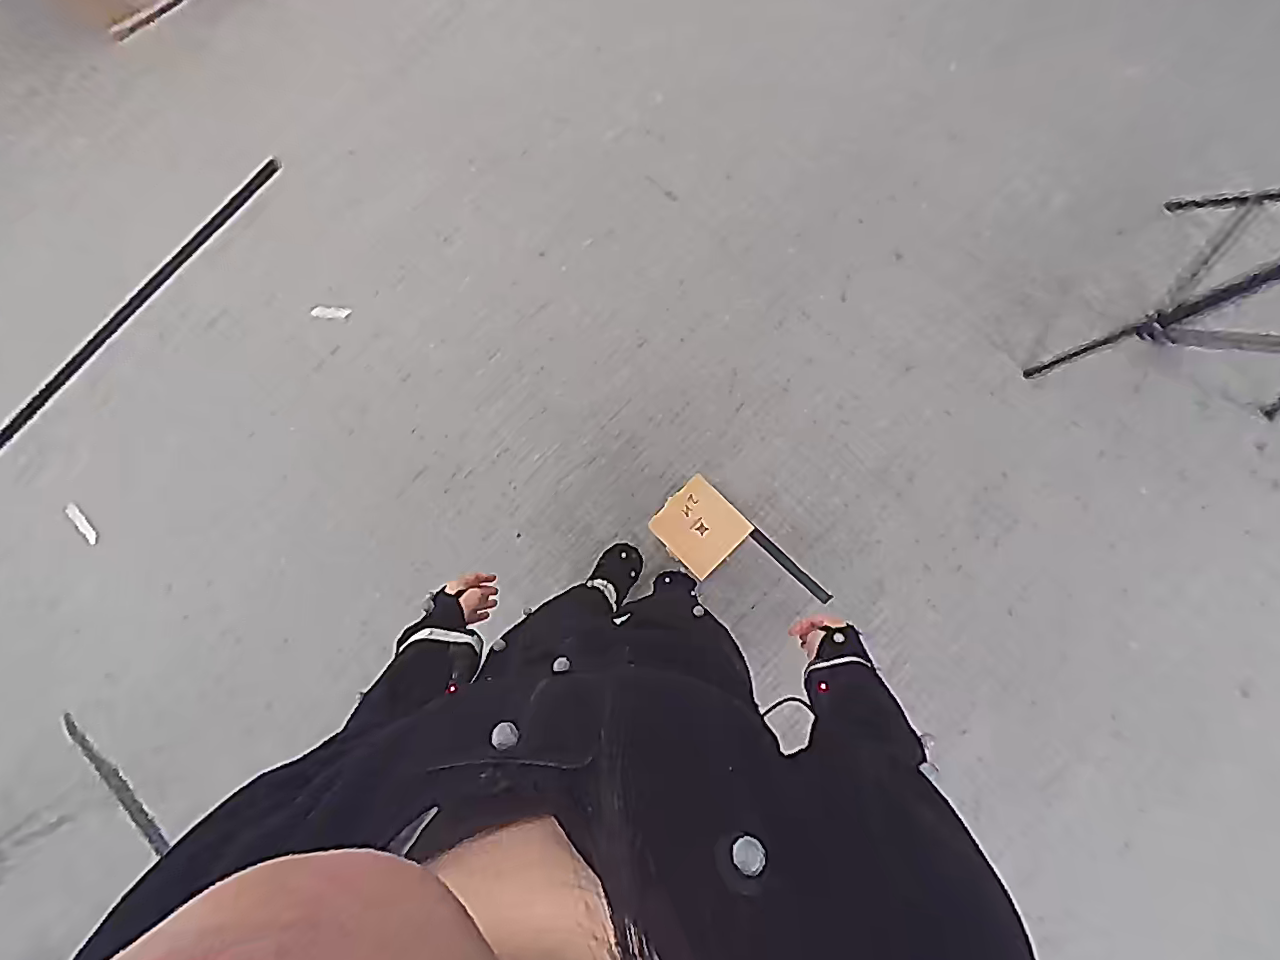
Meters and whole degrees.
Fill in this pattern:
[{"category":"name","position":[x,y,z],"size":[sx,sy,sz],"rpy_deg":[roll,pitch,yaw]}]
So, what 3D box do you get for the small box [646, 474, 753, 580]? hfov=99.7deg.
[{"category":"small box","position":[0.137,0.108,1.254],"size":[0.168,0.176,0.179],"rpy_deg":[-44,82,-1]}]
